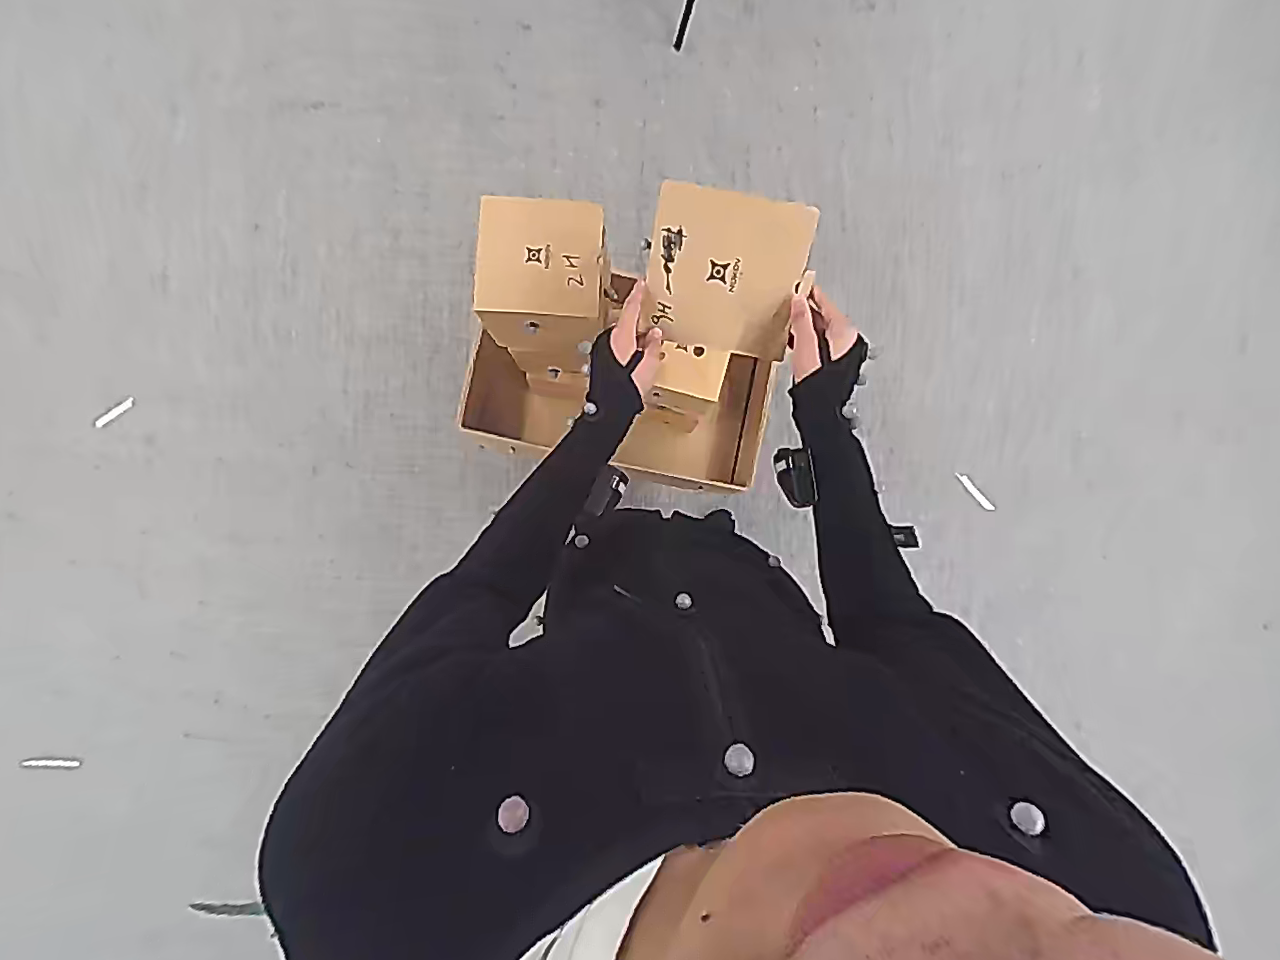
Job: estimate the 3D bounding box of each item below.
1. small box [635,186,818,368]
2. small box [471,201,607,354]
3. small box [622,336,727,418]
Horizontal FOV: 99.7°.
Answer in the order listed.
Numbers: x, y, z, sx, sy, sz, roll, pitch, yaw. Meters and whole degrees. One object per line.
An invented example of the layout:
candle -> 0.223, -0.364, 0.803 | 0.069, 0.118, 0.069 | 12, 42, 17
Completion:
small box -> 0.094, -0.245, 0.677 | 0.179, 0.176, 0.168 | 10, 107, -2
small box -> -0.145, -0.299, 0.829 | 0.179, 0.176, 0.168 | 3, 87, -3
small box -> 0.070, -0.225, 1.001 | 0.168, 0.176, 0.179 | 15, 86, 0
